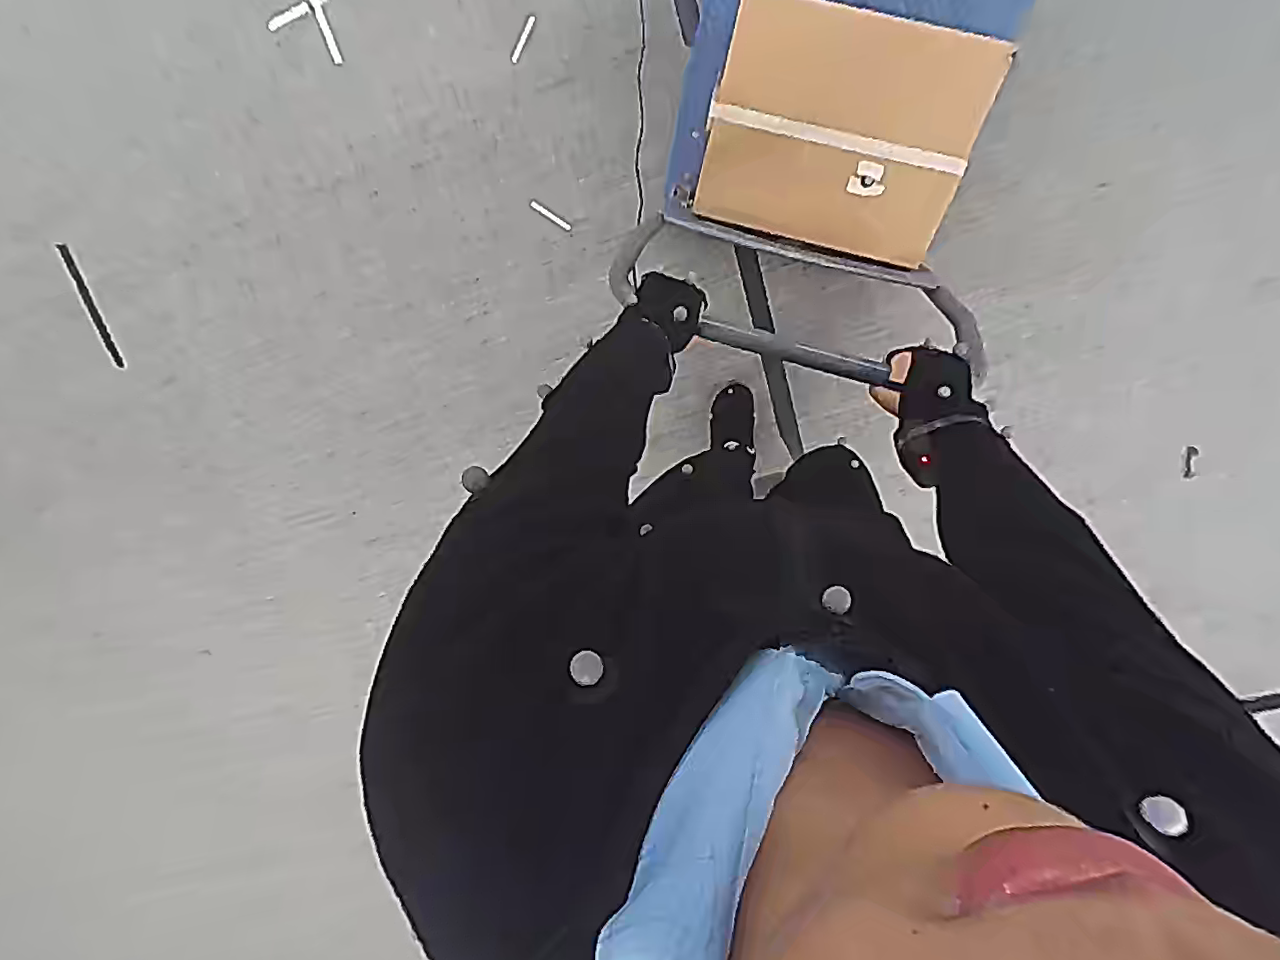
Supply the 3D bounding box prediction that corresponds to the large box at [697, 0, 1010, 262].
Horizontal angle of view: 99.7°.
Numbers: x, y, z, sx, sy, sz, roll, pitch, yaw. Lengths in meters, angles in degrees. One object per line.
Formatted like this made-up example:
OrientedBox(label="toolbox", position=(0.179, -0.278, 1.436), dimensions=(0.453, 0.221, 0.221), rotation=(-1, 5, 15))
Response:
OrientedBox(label="large box", position=(0.344, -0.627, 1.000), dimensions=(0.408, 0.320, 0.320), rotation=(16, 122, 3))
